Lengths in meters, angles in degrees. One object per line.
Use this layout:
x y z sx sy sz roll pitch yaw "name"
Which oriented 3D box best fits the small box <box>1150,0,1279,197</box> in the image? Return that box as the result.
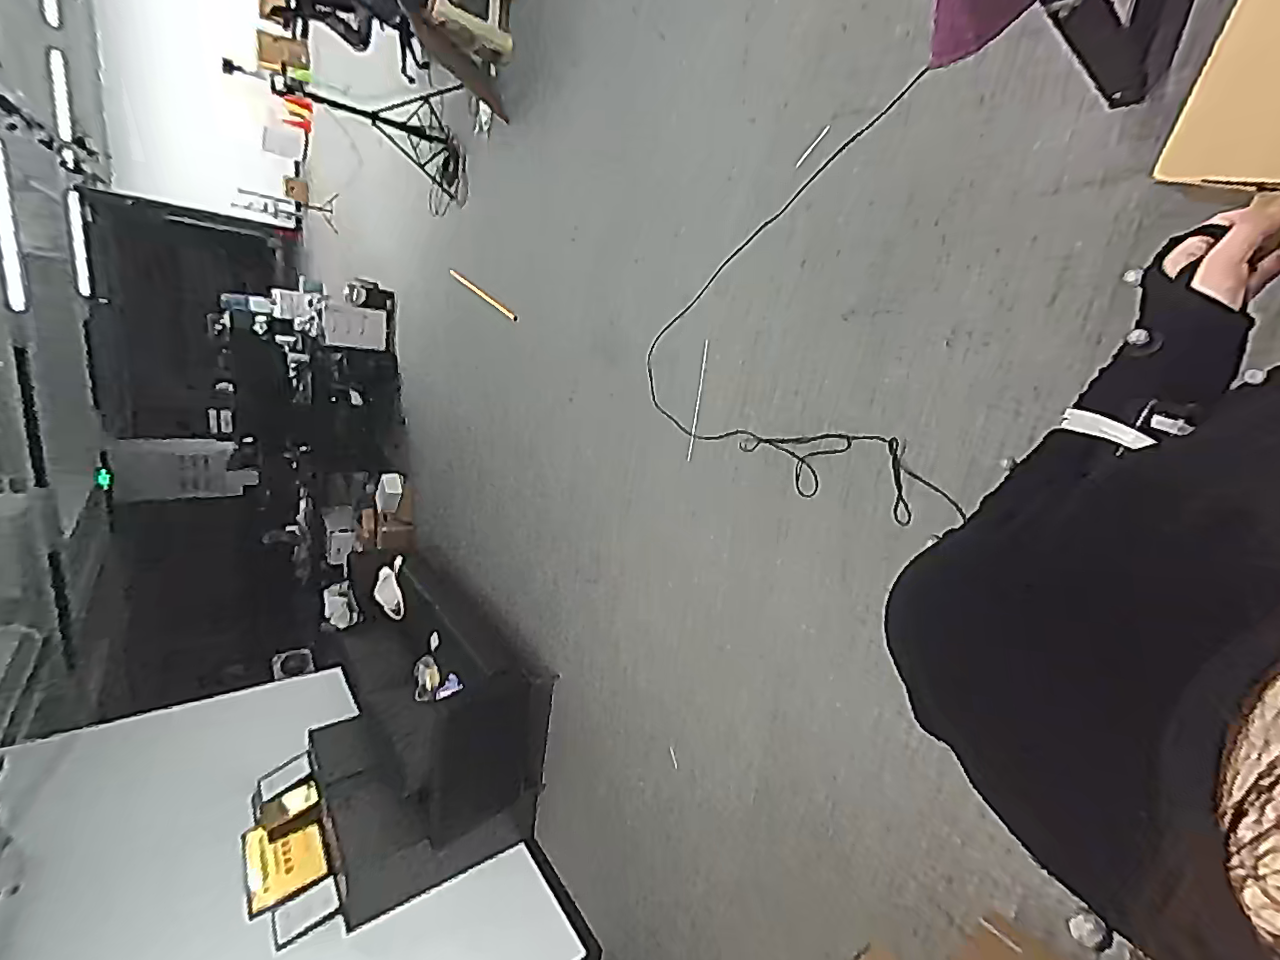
0.514 -0.291 0.366 0.168 0.176 0.179 38 130 42 "small box"
